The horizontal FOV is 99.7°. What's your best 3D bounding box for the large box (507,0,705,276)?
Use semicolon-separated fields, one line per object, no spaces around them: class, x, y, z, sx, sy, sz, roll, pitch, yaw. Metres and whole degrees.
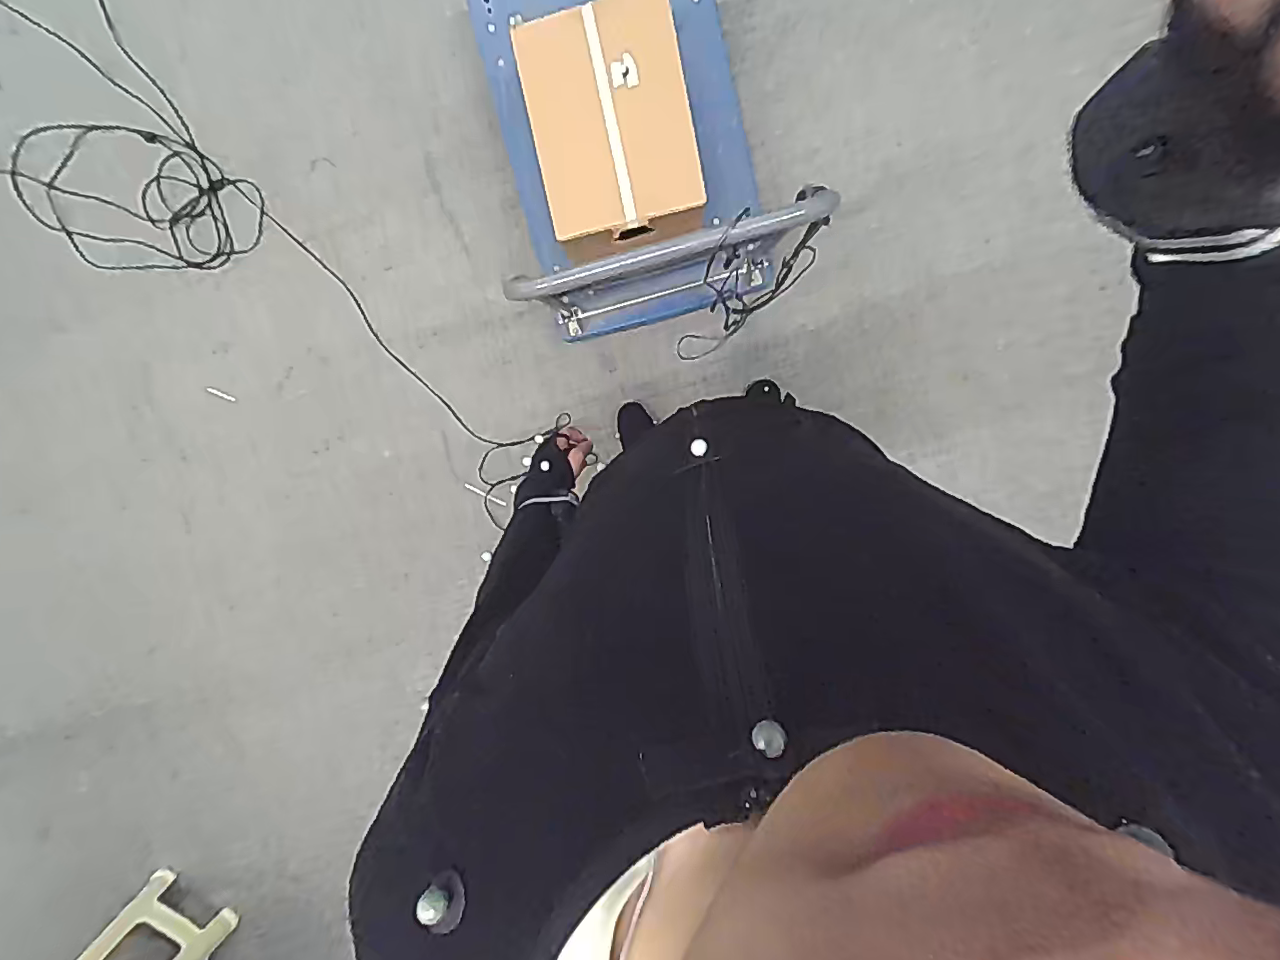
large box;-0.054;-0.720;1.194;0.320;0.320;0.408;-12;97;5
